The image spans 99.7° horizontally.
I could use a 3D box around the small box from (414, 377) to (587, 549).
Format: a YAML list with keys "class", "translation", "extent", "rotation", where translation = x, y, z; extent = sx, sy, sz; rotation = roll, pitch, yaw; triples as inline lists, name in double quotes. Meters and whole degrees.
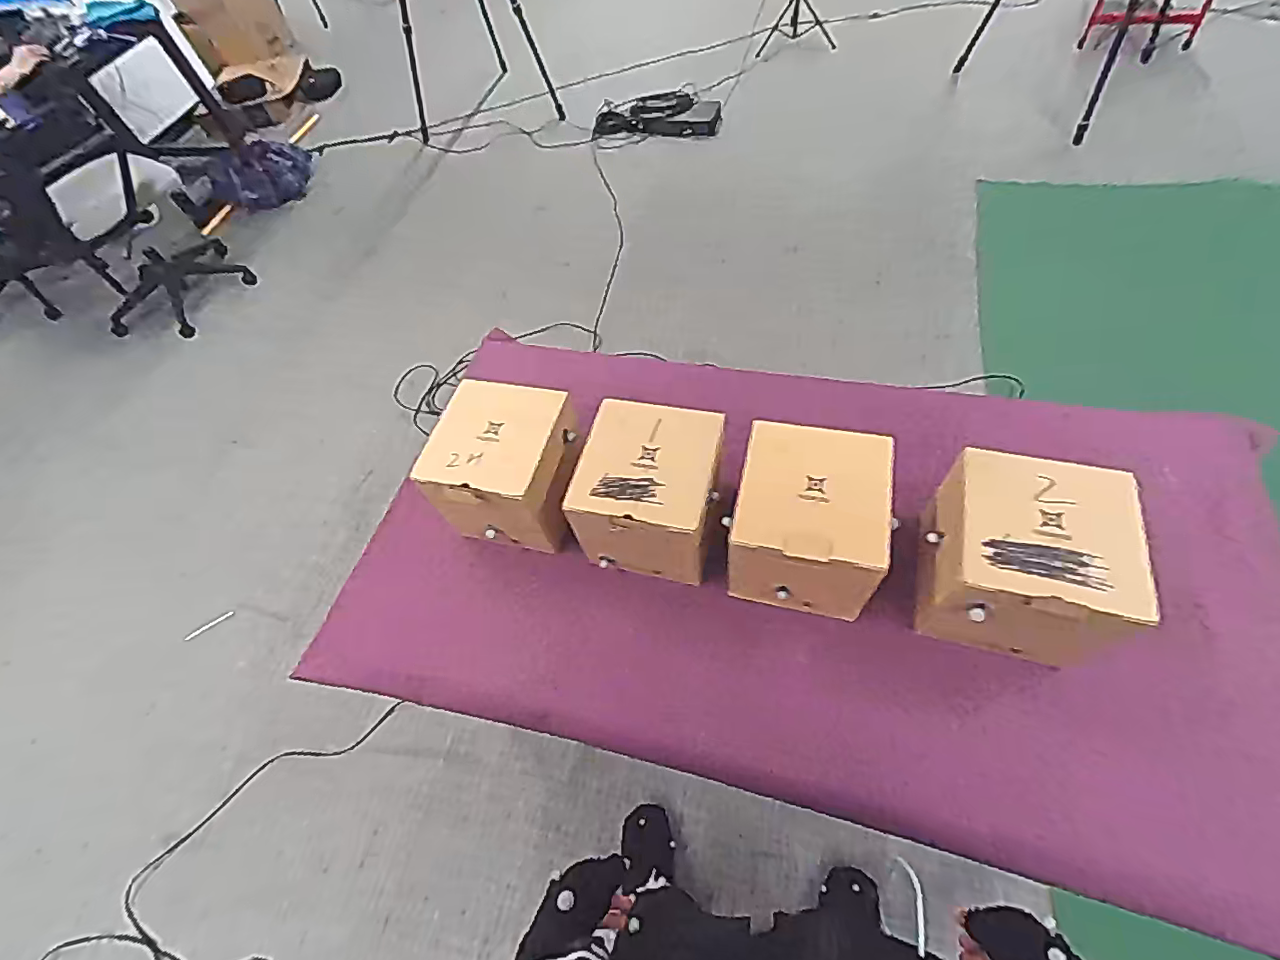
- class: "small box"
  translation: [-0.187, -0.022, 0.791]
  extent: [0.168, 0.176, 0.179]
  rotation: [9, 61, 14]
